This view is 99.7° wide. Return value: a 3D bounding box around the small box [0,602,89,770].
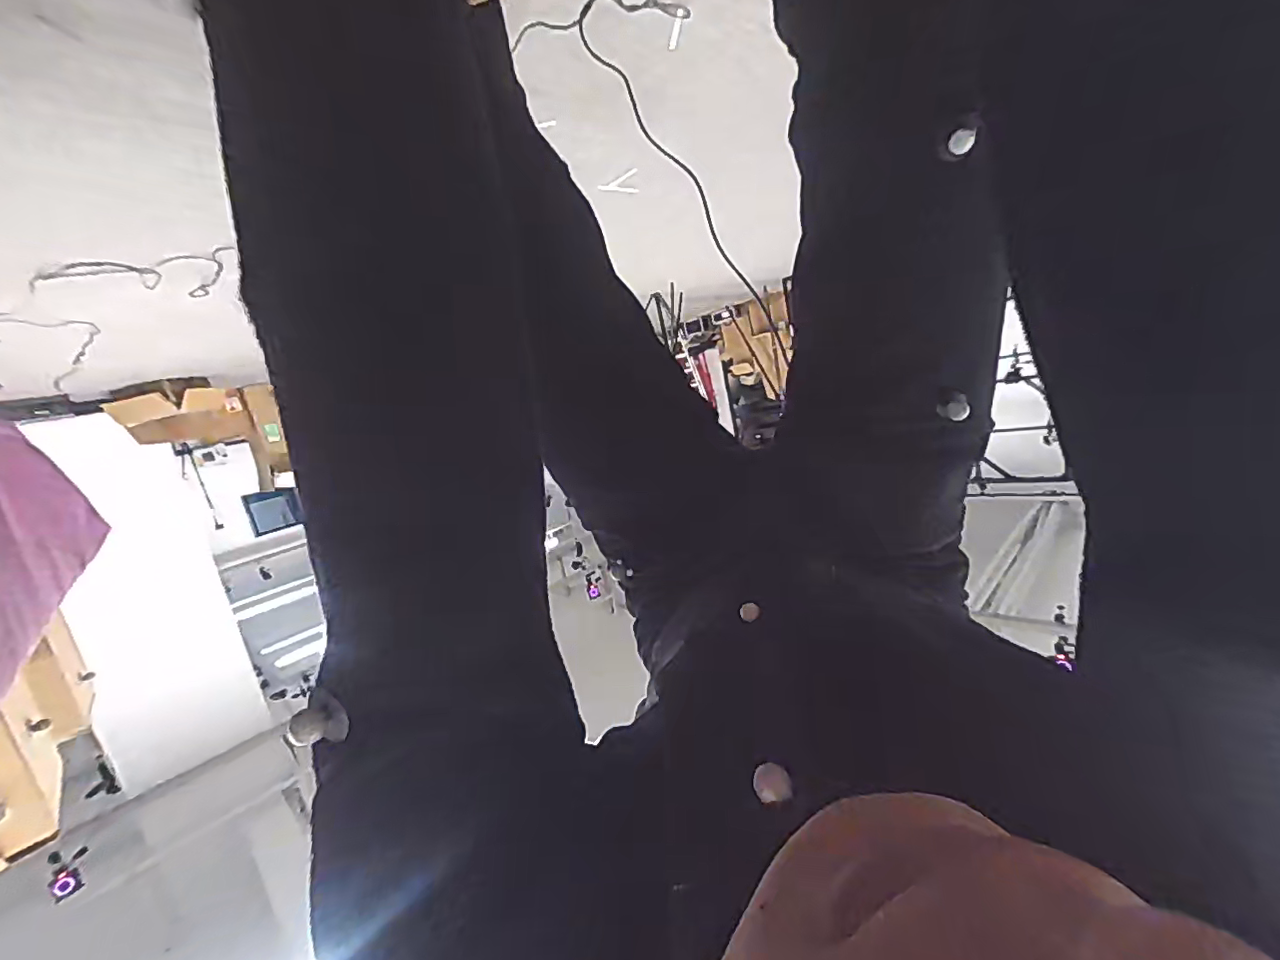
[{"bbox_3d":[-0.825,0.262,0.666,0.168,0.176,0.179,-23,-166,-42],"label":"small box"}]
